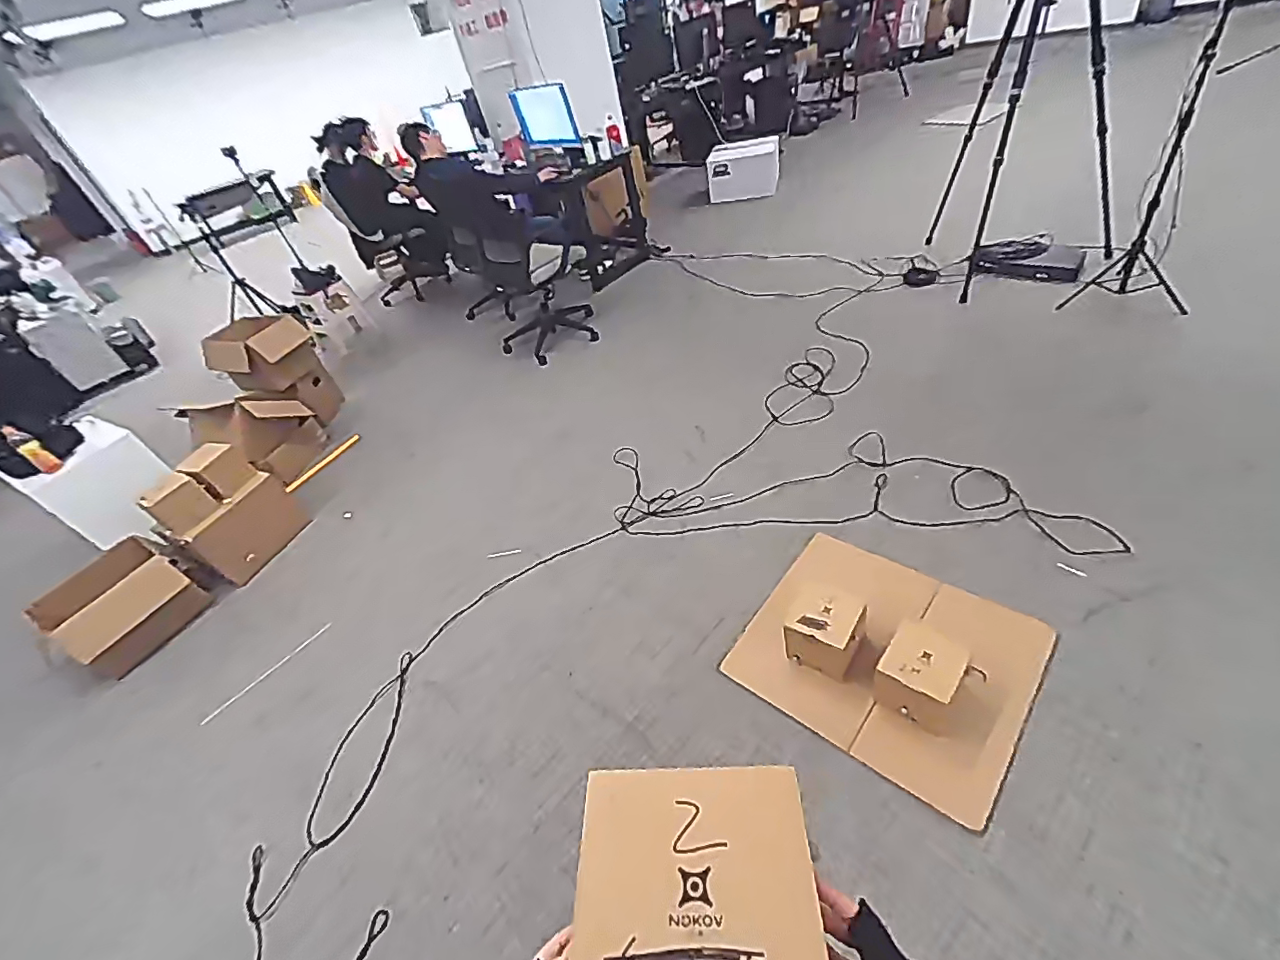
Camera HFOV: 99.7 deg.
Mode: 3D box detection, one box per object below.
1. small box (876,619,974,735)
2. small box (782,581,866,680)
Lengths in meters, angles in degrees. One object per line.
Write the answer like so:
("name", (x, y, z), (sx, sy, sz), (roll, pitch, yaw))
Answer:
("small box", (0.704, 0.492, 1.350), (0.168, 0.176, 0.179), (22, 54, 38))
("small box", (0.512, 0.418, 1.496), (0.168, 0.176, 0.179), (18, 51, 35))
